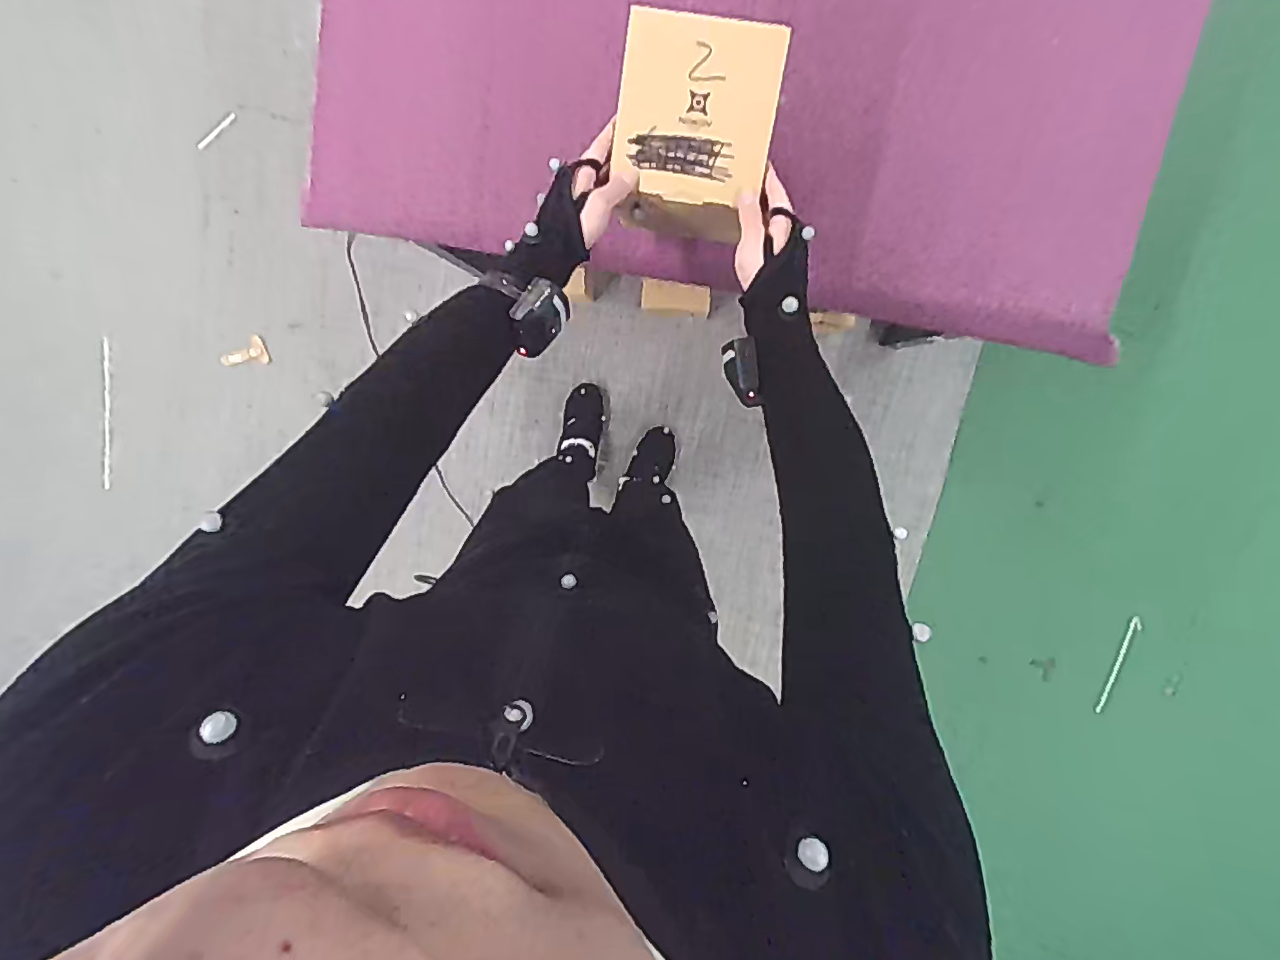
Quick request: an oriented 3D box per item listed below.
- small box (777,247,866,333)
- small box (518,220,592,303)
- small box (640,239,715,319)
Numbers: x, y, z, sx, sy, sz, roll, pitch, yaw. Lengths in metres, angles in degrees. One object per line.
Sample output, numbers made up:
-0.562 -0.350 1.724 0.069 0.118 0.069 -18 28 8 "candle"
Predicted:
0.462 -0.484 1.406 0.168 0.176 0.179 7 99 1 "small box"
-0.218 -0.569 1.426 0.168 0.176 0.179 2 100 3 "small box"
0.096 -0.521 1.420 0.179 0.176 0.168 4 99 3 "small box"
